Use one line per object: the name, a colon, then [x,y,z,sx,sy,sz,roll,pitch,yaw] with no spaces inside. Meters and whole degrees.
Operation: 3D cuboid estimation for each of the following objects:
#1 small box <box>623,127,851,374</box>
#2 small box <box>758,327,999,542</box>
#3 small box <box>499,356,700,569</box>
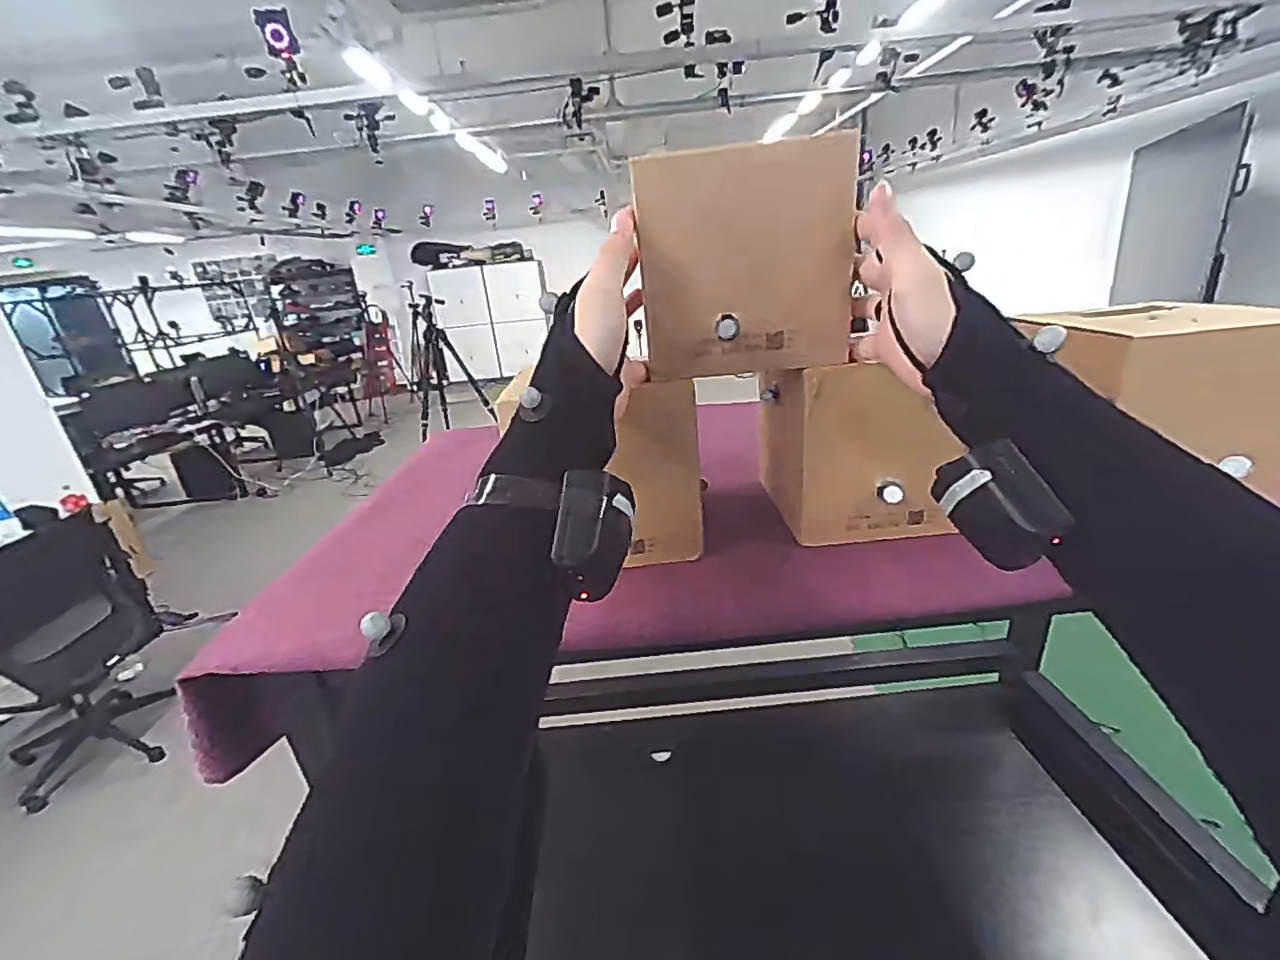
small box: [0.078,-0.196,0.492,0.168,0.176,0.179,-5,22,3]
small box: [0.215,-0.053,0.543,0.168,0.176,0.179,-6,22,1]
small box: [-0.034,-0.028,0.546,0.168,0.176,0.179,-6,21,-2]
